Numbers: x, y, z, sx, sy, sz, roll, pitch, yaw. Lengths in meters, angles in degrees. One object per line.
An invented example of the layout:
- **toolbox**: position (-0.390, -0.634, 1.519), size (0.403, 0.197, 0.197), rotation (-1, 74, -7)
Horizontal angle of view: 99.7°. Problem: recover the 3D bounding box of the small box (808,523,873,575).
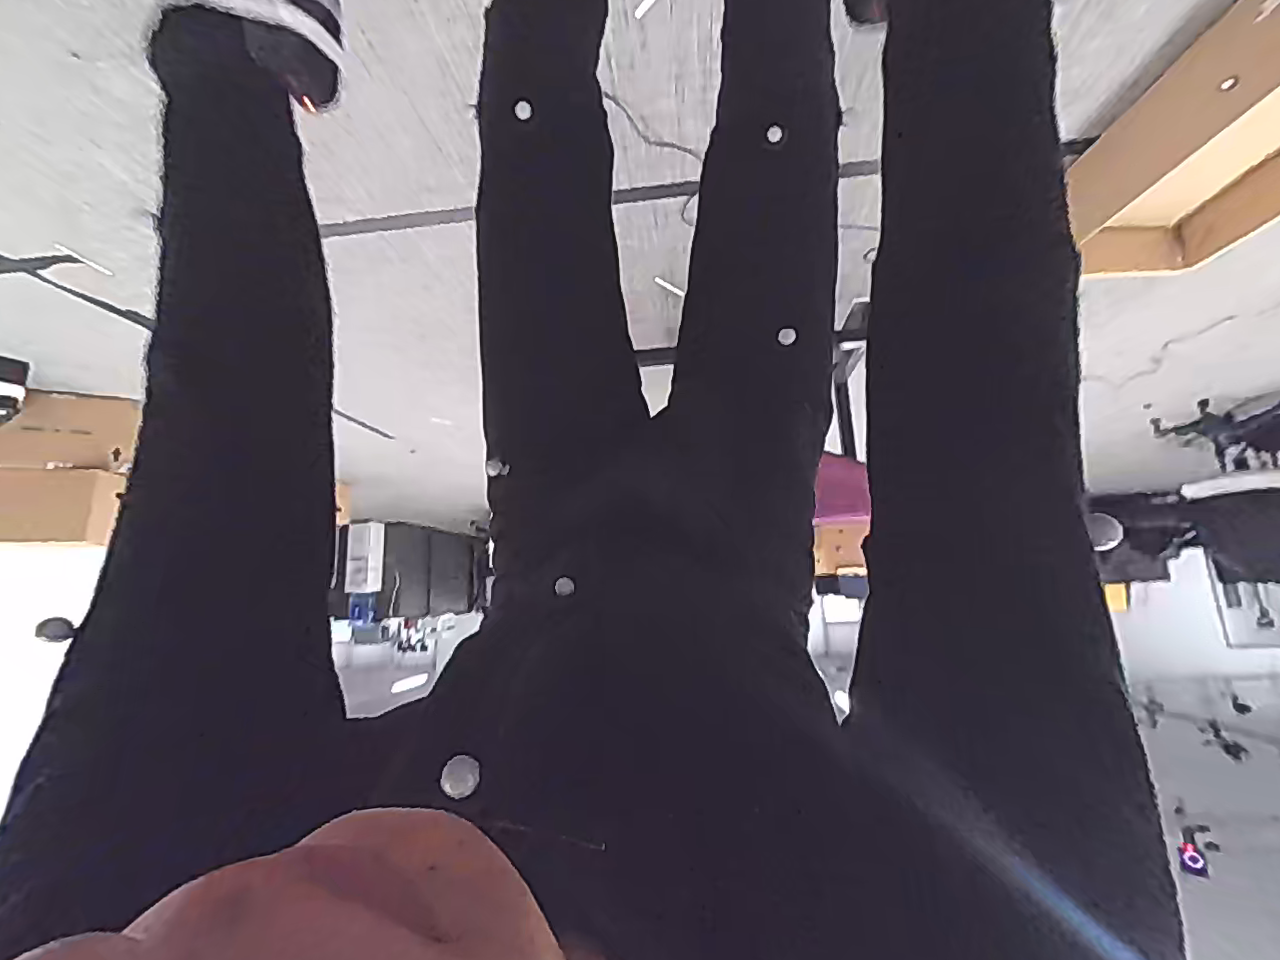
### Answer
- **small box**: position (0.700, 0.243, 1.910), size (0.168, 0.176, 0.179), rotation (-2, 169, 2)
